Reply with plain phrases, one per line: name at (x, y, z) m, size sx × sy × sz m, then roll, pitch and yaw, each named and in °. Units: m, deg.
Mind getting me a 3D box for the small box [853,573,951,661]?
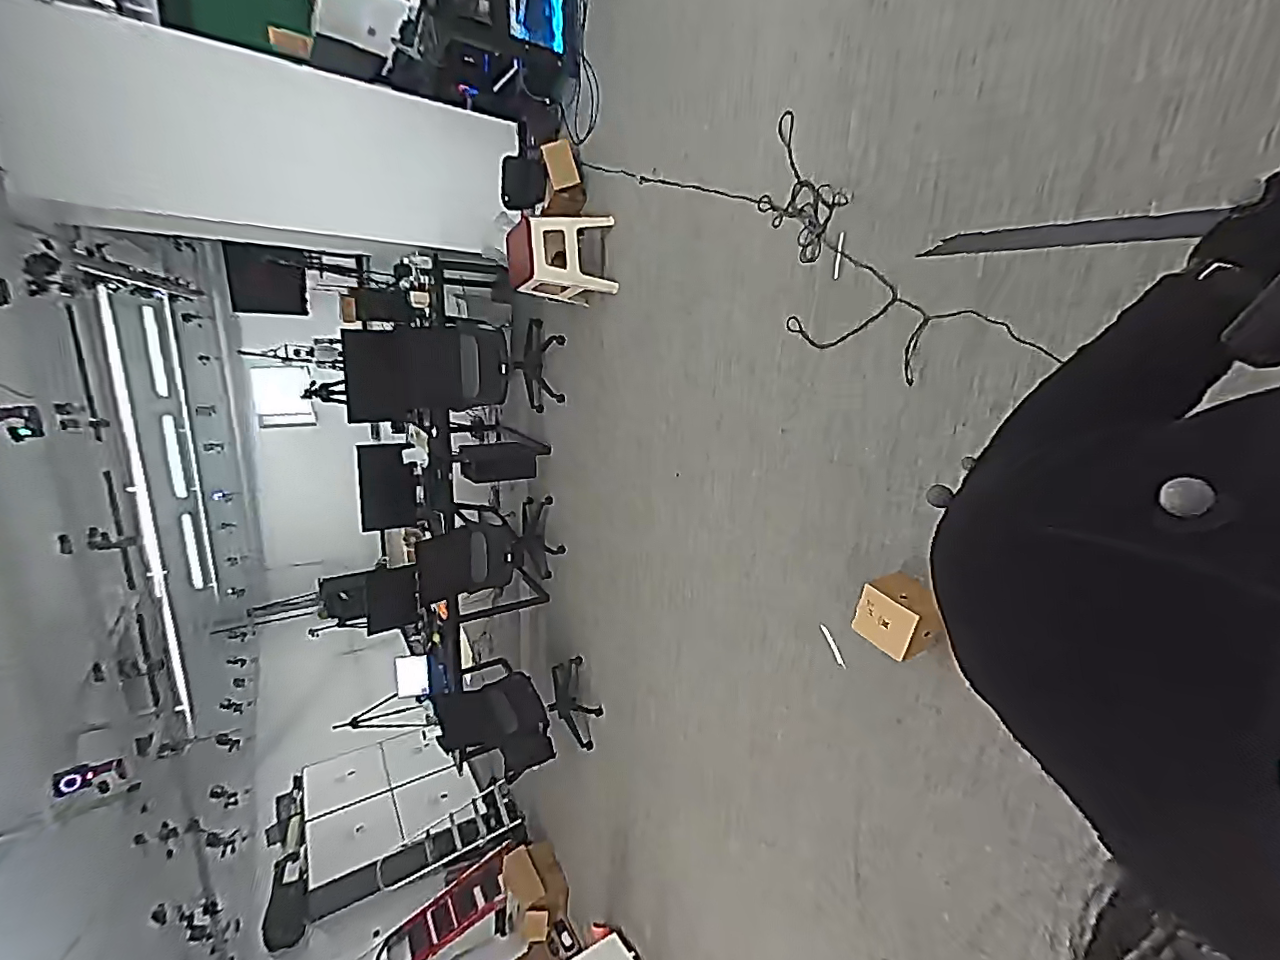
small box at (0.773, 0.394, 1.593) m, size 0.179 × 0.176 × 0.168 m, roll 38°, pitch 126°, yaw 49°
